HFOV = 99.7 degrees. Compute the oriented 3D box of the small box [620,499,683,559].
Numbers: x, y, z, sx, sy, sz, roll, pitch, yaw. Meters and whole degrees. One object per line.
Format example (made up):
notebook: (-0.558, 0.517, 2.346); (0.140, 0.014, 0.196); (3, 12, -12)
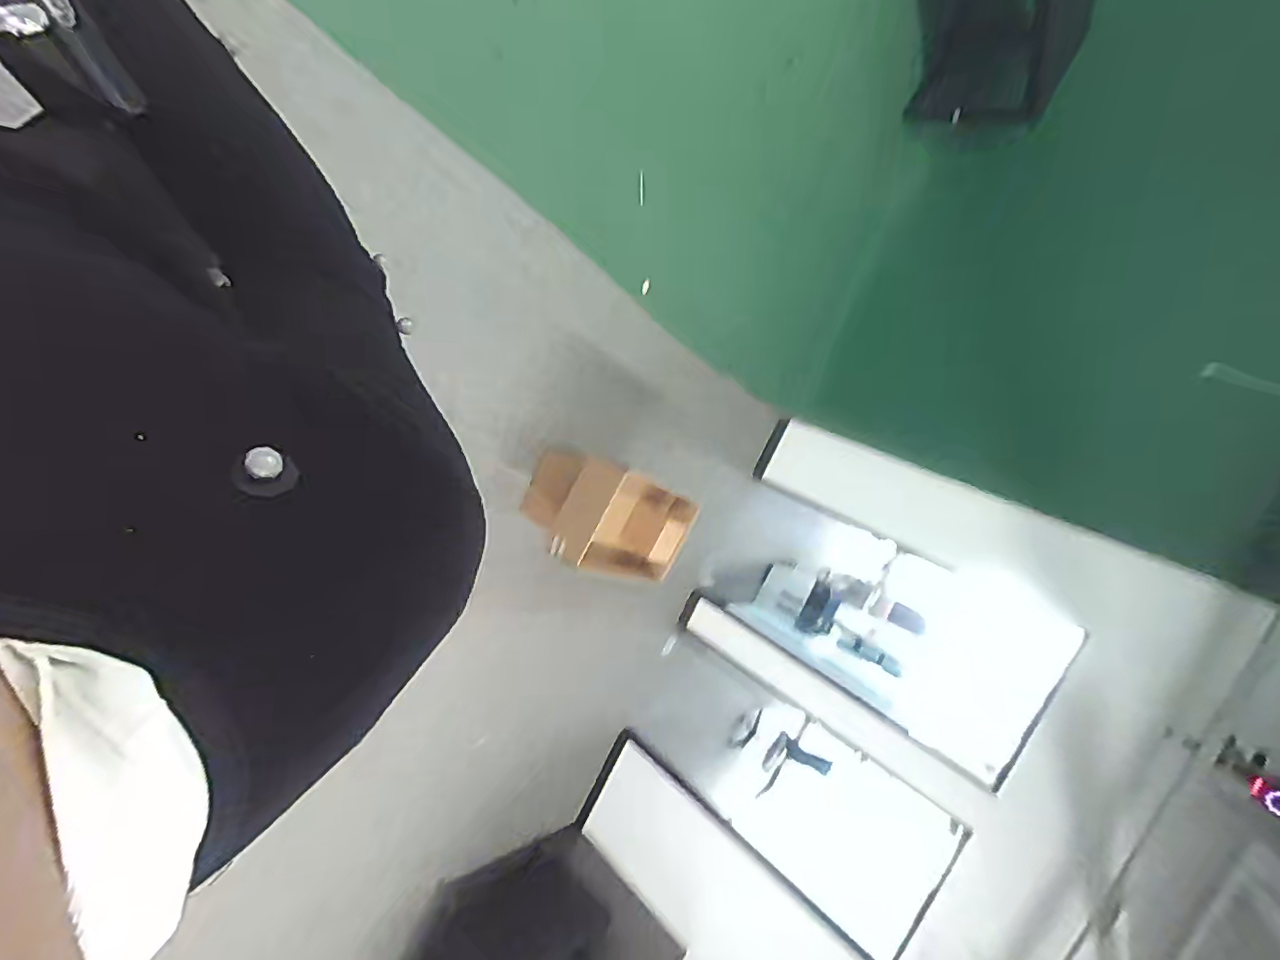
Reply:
small box: (0.042, 0.203, 2.223); (0.168, 0.176, 0.179); (23, 94, -56)
